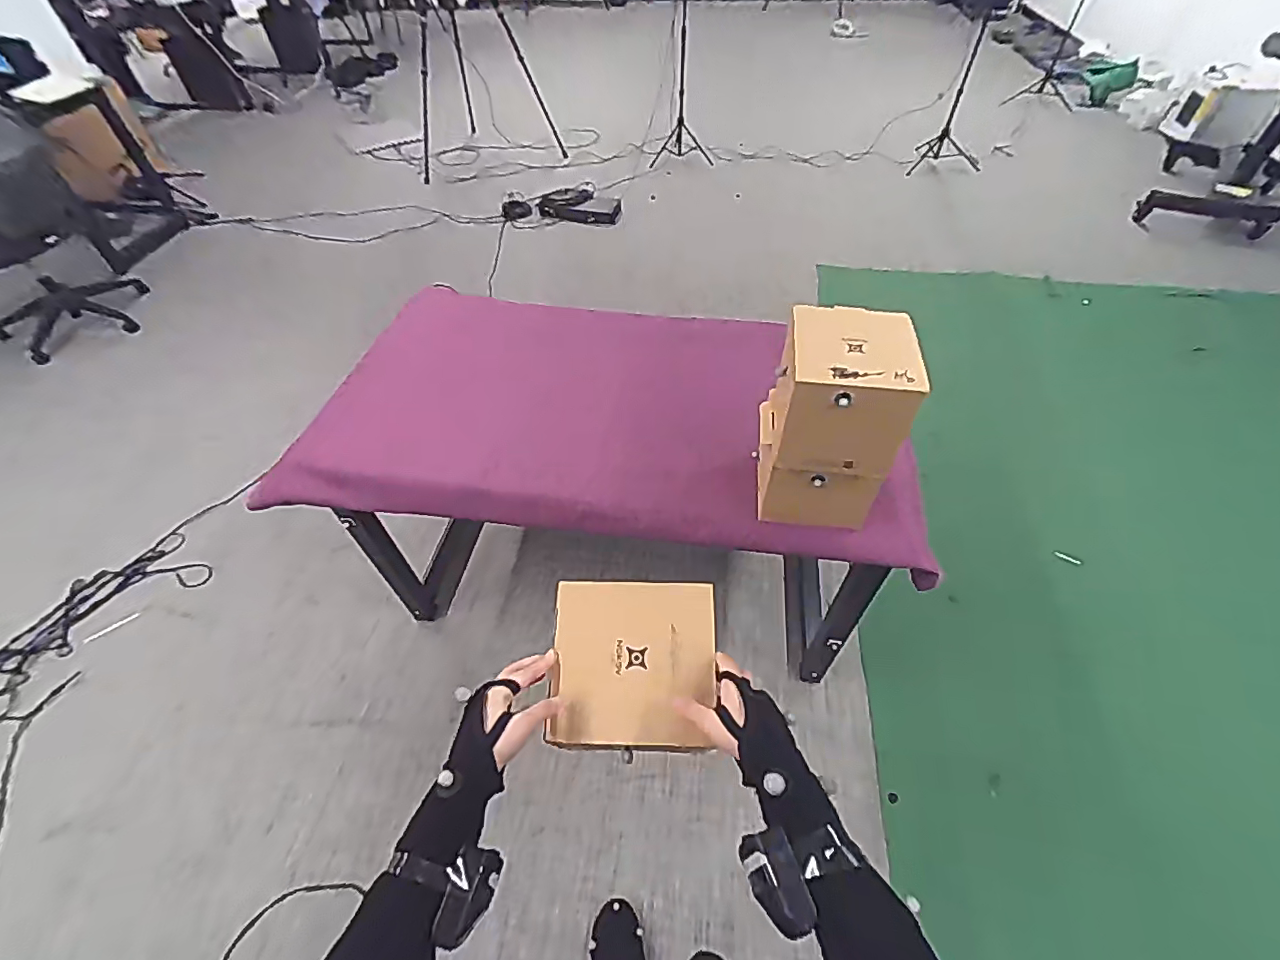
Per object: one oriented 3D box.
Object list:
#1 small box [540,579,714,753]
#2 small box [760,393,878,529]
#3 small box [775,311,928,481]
[{"bbox_3d":[-0.006,0.225,0.640,0.179,0.176,0.168,1,61,3],"label":"small box"},{"bbox_3d":[0.302,-0.030,0.931,0.179,0.176,0.168,5,50,5],"label":"small box"},{"bbox_3d":[0.294,-0.123,0.794,0.168,0.176,0.179,6,50,8],"label":"small box"}]
